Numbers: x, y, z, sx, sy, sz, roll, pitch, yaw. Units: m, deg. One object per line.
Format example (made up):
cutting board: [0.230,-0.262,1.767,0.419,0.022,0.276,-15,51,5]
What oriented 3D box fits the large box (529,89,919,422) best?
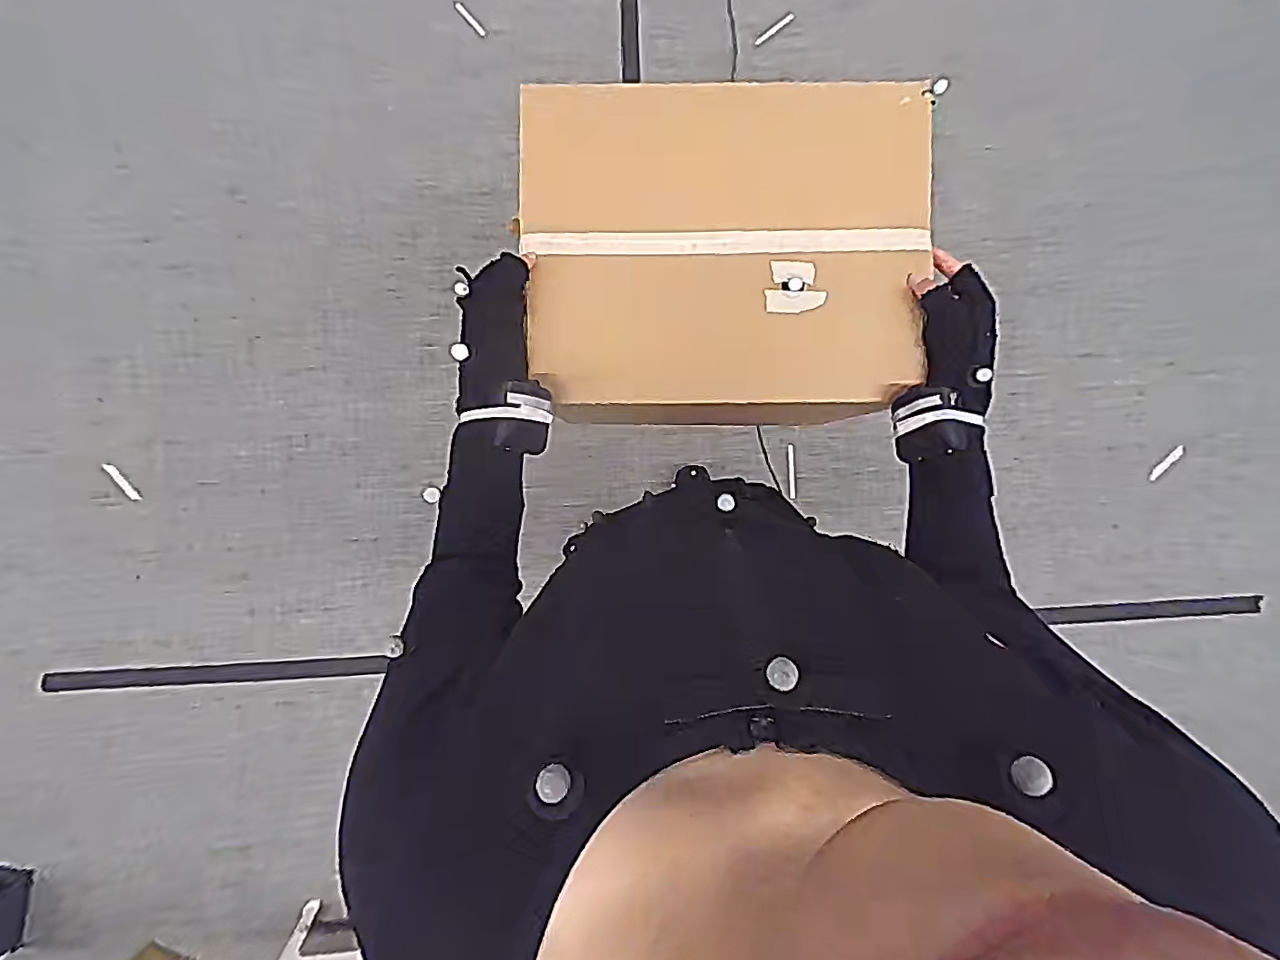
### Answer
large box: [0.086,-0.247,0.705,0.408,0.320,0.320,-1,92,0]
